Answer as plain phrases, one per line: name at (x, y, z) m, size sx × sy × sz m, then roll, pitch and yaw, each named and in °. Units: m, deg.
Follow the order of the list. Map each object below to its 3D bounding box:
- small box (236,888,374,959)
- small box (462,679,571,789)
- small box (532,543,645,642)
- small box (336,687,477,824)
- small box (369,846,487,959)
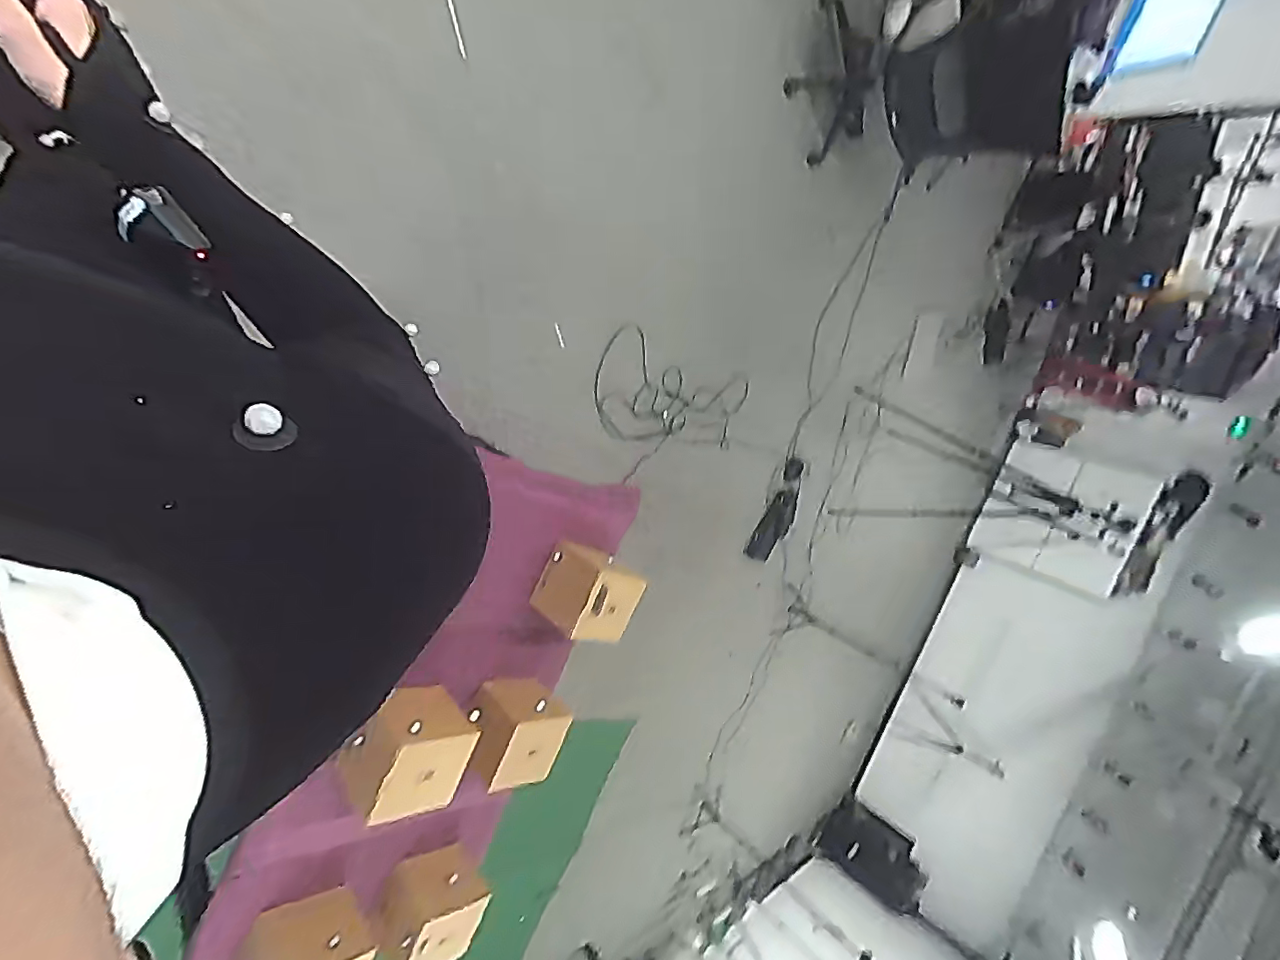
small box at (-0.672, 0.963, 1.070) m, size 0.179 × 0.176 × 0.168 m, roll 24°, pitch 90°, yaw -51°
small box at (-0.303, 0.589, 1.280) m, size 0.179 × 0.176 × 0.168 m, roll 23°, pitch 92°, yaw -49°
small box at (-0.126, 0.266, 1.293) m, size 0.179 × 0.176 × 0.168 m, roll 26°, pitch 91°, yaw -49°
small box at (-0.465, 0.532, 1.075) m, size 0.179 × 0.176 × 0.168 m, roll 21°, pitch 94°, yaw -50°
small box at (-0.504, 1.017, 1.285) m, size 0.179 × 0.176 × 0.168 m, roll 21°, pitch 93°, yaw -50°
